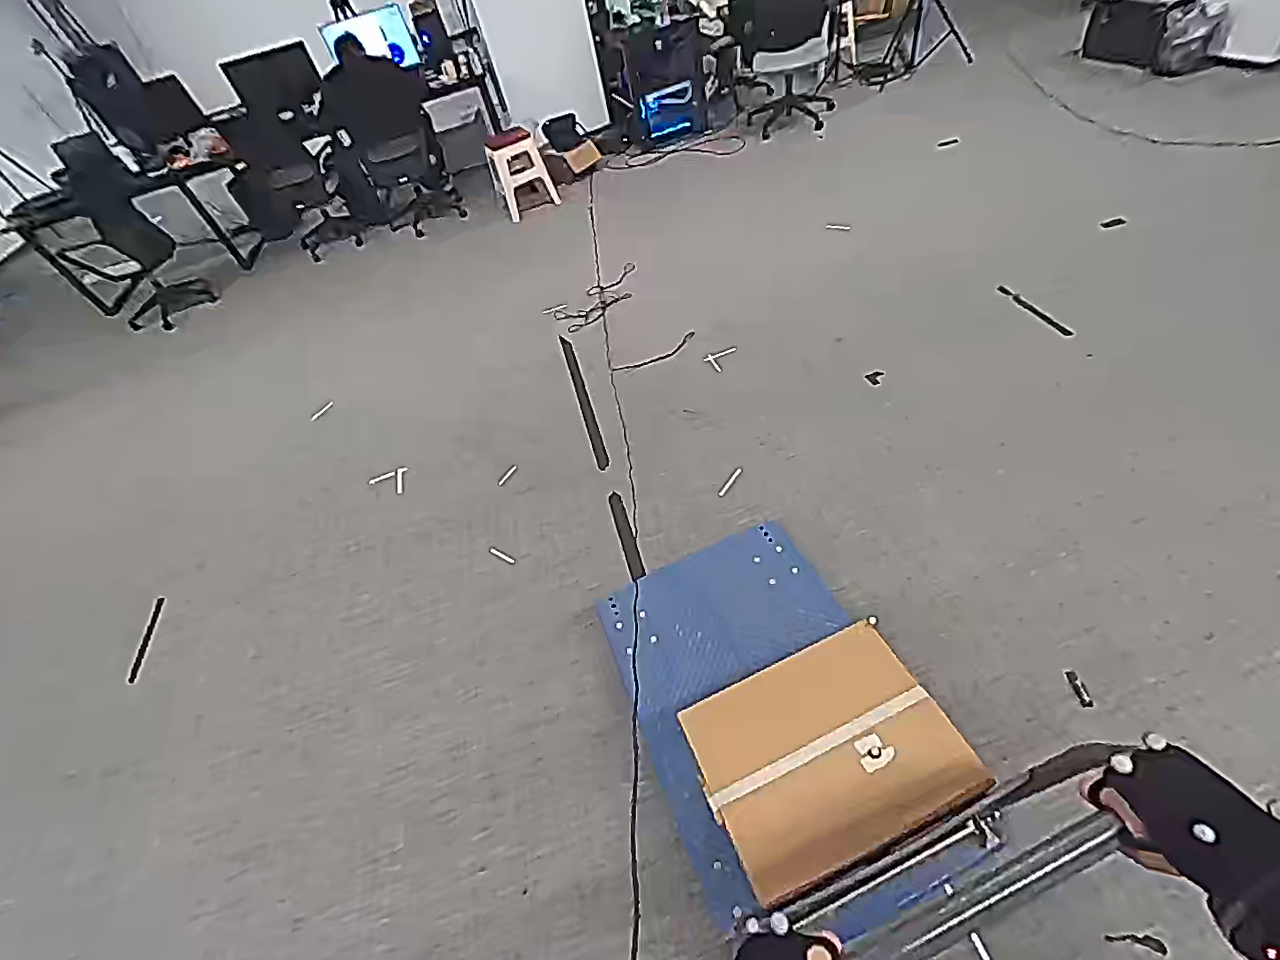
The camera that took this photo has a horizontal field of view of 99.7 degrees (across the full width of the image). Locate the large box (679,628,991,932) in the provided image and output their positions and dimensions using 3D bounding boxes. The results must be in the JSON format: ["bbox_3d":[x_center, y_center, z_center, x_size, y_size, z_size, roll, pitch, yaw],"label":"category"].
[{"bbox_3d":[0.332,0.555,1.006,0.408,0.320,0.320,-24,48,-6],"label":"large box"}]
